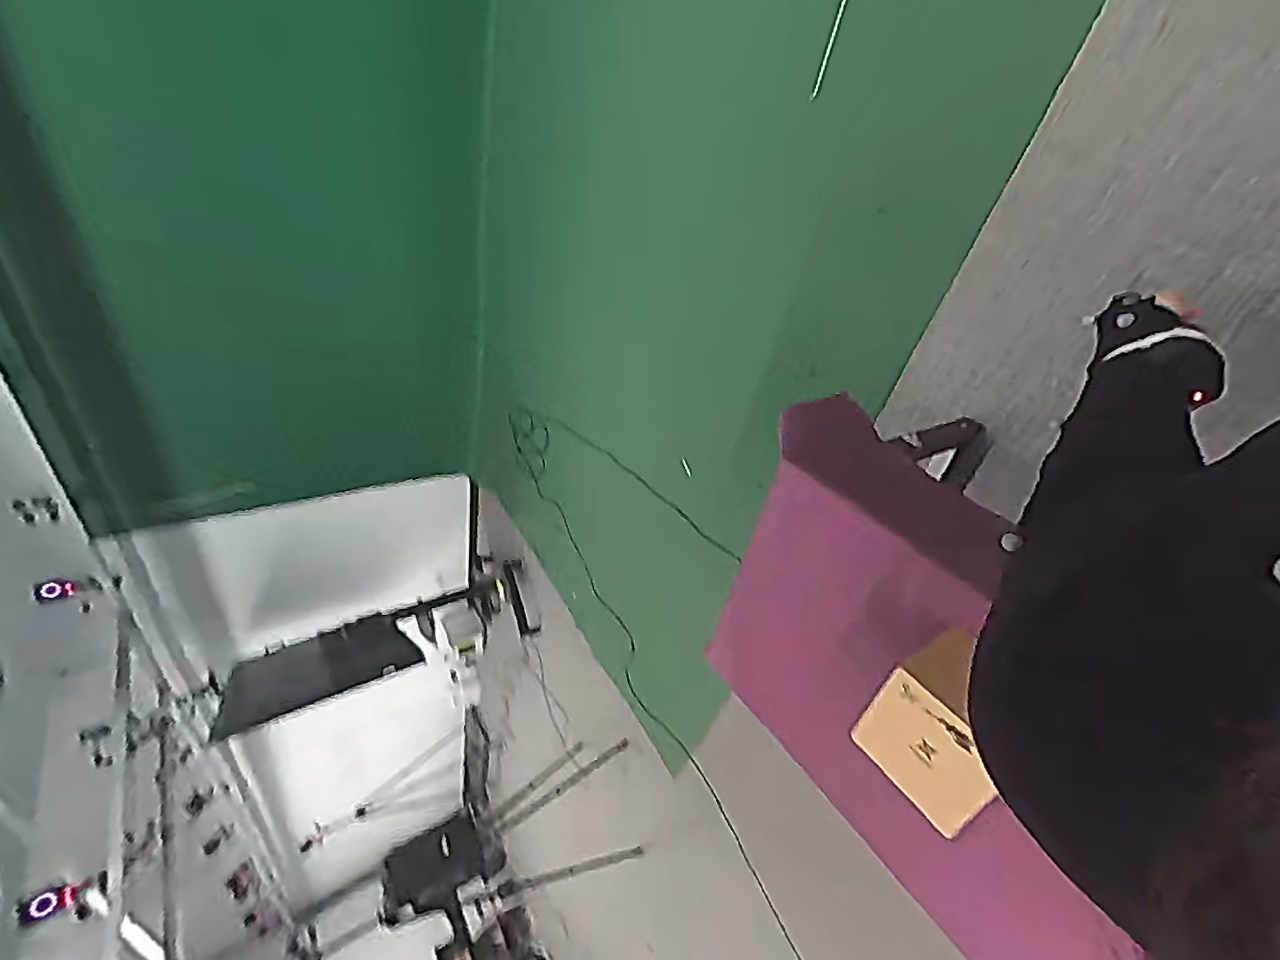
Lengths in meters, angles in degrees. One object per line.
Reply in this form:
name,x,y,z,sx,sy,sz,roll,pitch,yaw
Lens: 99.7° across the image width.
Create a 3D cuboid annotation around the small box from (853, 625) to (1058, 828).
small box,0.452,0.345,0.781,0.168,0.176,0.179,43,135,38
